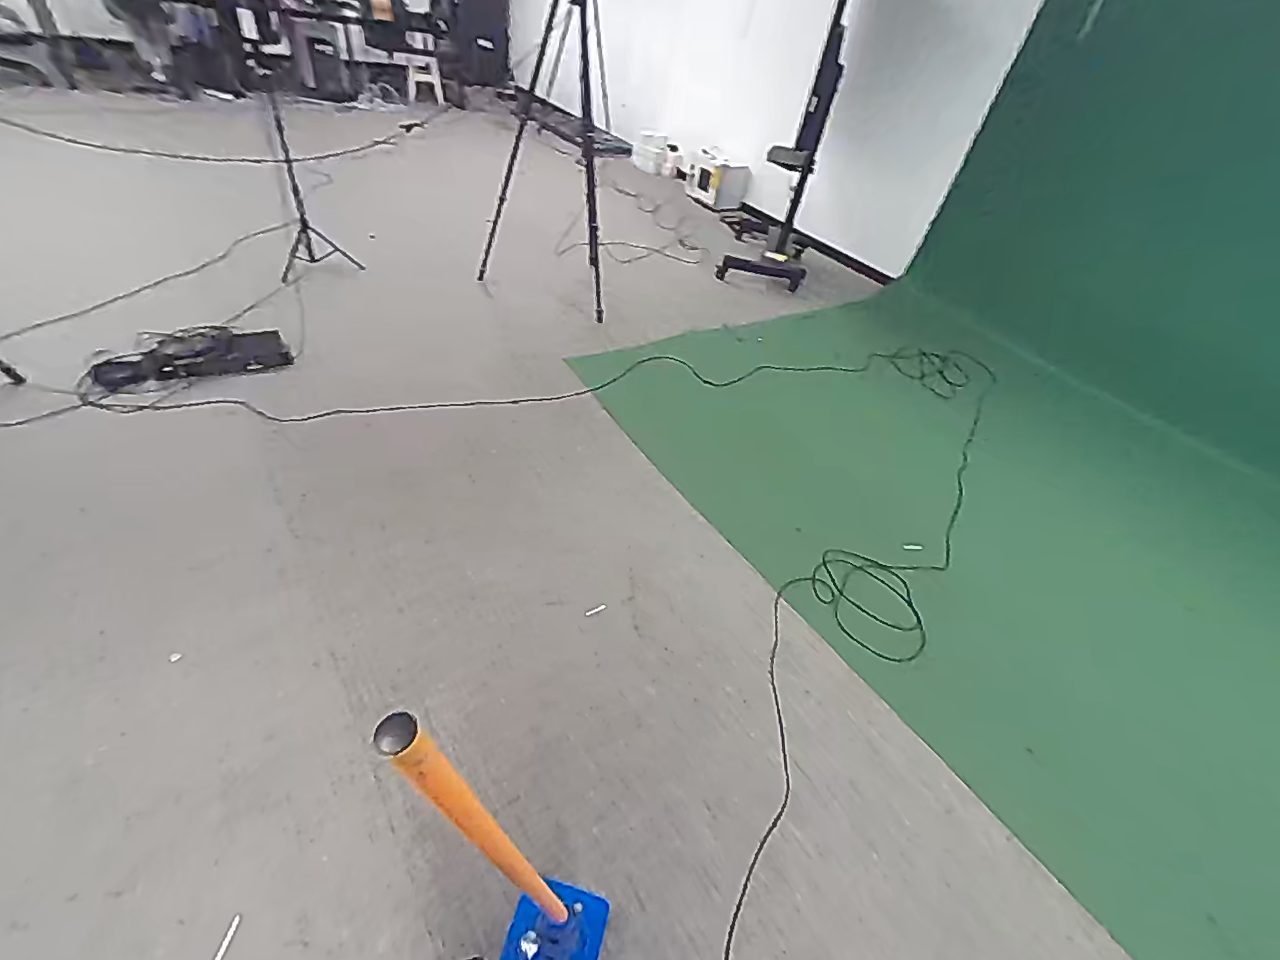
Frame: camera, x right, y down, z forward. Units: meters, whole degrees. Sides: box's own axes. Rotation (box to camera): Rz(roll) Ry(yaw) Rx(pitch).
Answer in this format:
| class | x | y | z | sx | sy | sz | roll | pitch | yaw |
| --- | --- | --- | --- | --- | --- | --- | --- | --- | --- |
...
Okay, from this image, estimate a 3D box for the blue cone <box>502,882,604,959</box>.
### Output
| class | x | y | z | sx | sy | sz | roll | pitch | yaw |
| --- | --- | --- | --- | --- | --- | --- | --- | --- | --- |
| blue cone | -0.161 | 0.853 | 1.020 | 0.193 | 0.380 | 0.192 | 14 | 43 | 5 |
